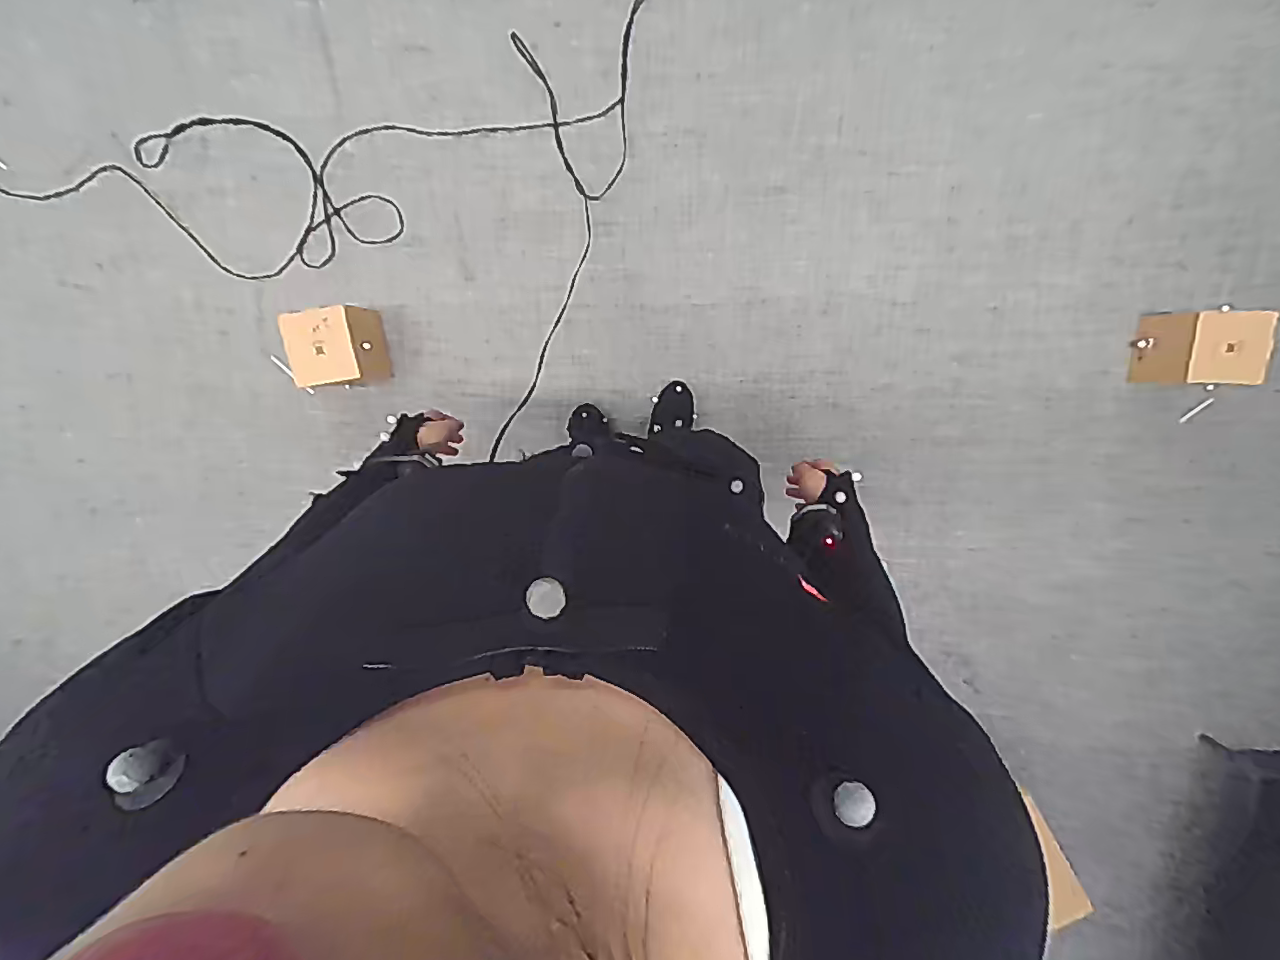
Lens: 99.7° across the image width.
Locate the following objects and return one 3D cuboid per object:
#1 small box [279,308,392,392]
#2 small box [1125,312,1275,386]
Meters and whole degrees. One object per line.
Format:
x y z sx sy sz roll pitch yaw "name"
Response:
-0.750 -0.323 1.353 0.168 0.176 0.179 -8 101 3 "small box"
1.359 -0.319 1.324 0.179 0.176 0.168 1 101 2 "small box"
